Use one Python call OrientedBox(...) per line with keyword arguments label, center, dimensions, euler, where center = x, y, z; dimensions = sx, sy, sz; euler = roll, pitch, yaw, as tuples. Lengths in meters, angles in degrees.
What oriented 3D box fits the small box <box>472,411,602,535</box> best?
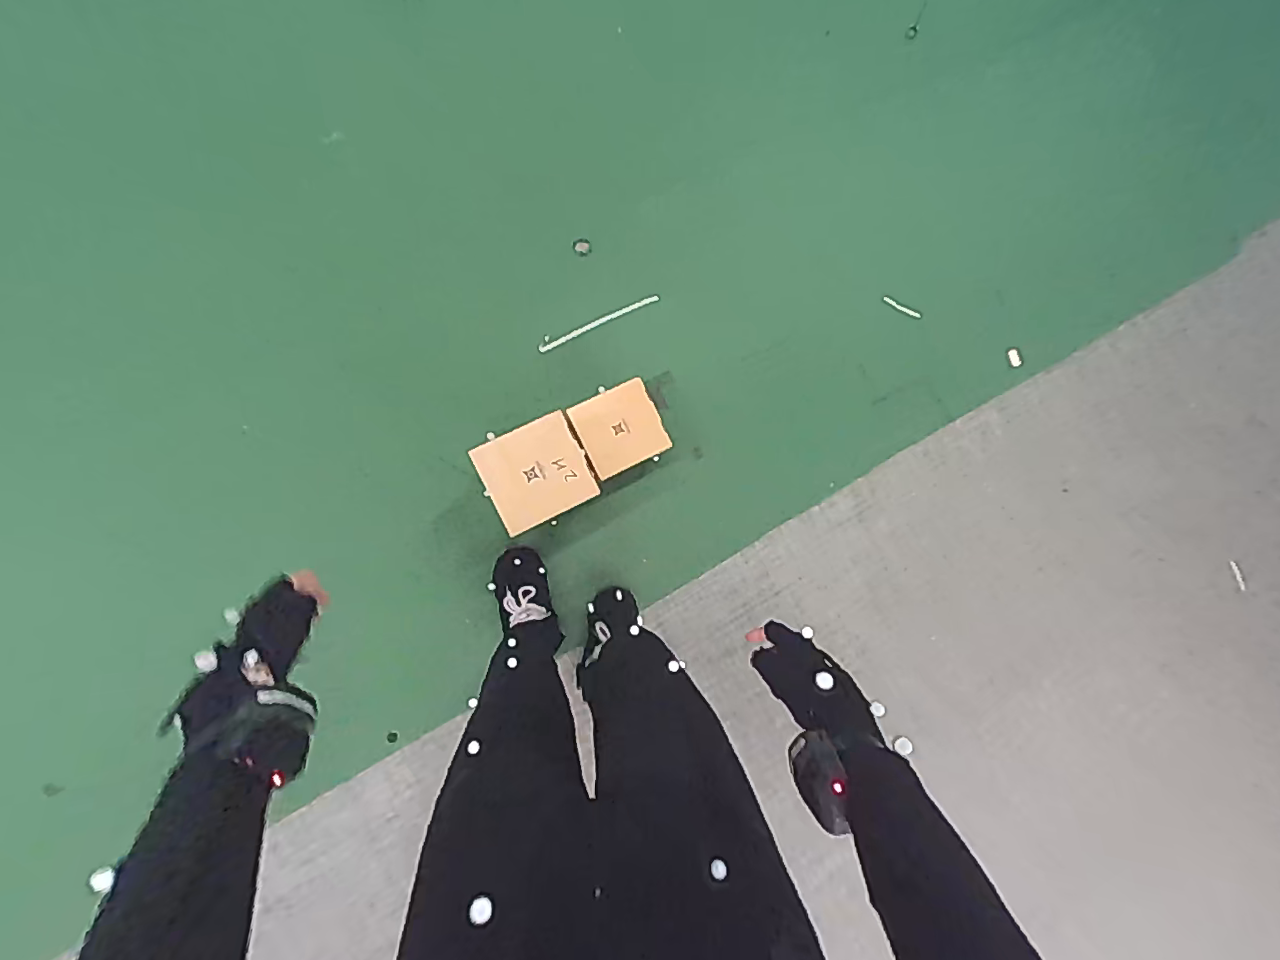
OrientedBox(label="small box", center=(-0.189, -0.012, 1.011), dimensions=(0.179, 0.176, 0.168), euler=(-26, 95, -10))
